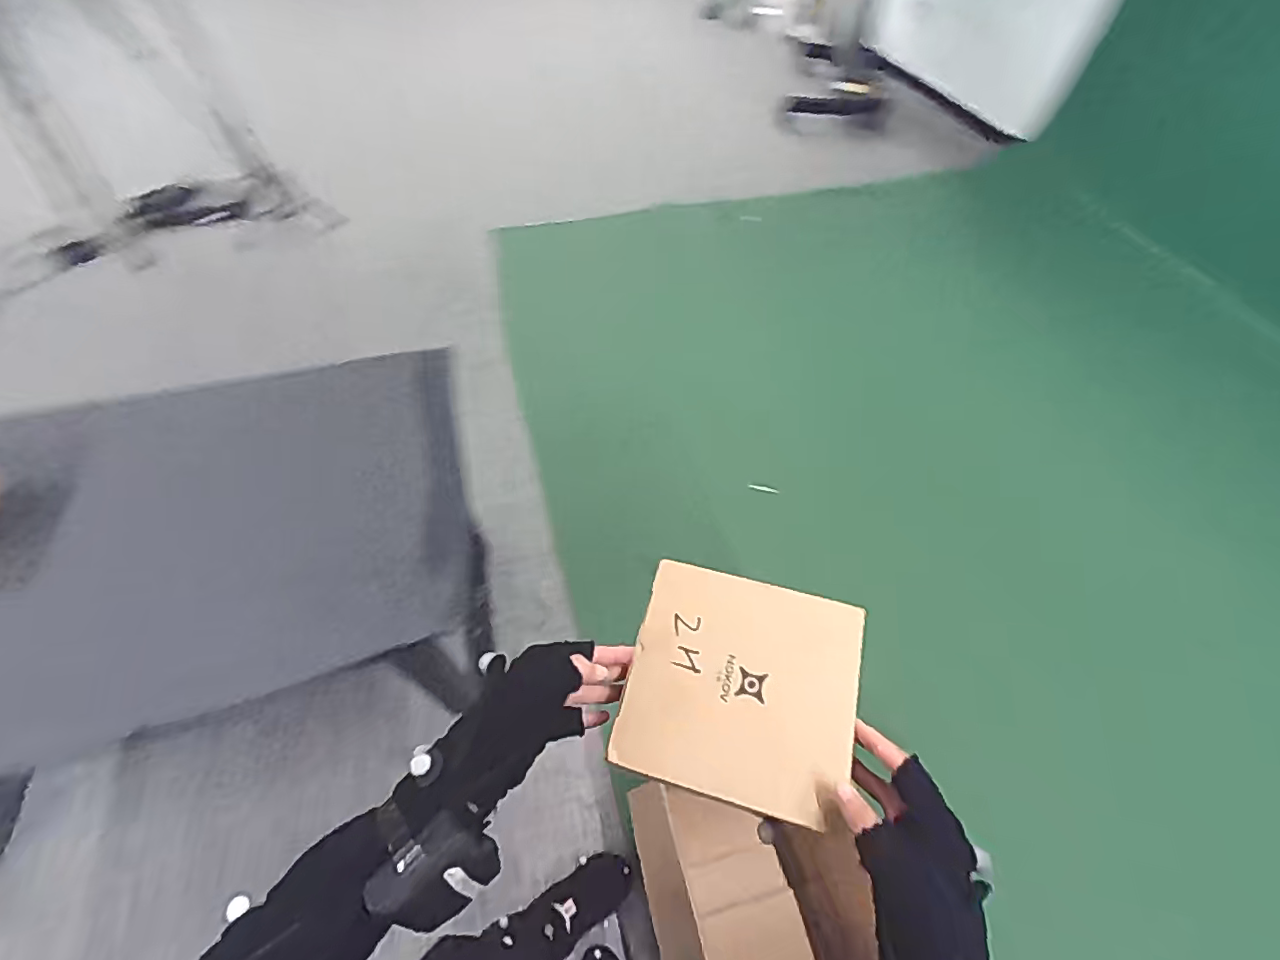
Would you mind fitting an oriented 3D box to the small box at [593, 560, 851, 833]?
[{"bbox_3d":[0.073,0.195,0.490,0.179,0.176,0.168,12,61,10],"label":"small box"}]
